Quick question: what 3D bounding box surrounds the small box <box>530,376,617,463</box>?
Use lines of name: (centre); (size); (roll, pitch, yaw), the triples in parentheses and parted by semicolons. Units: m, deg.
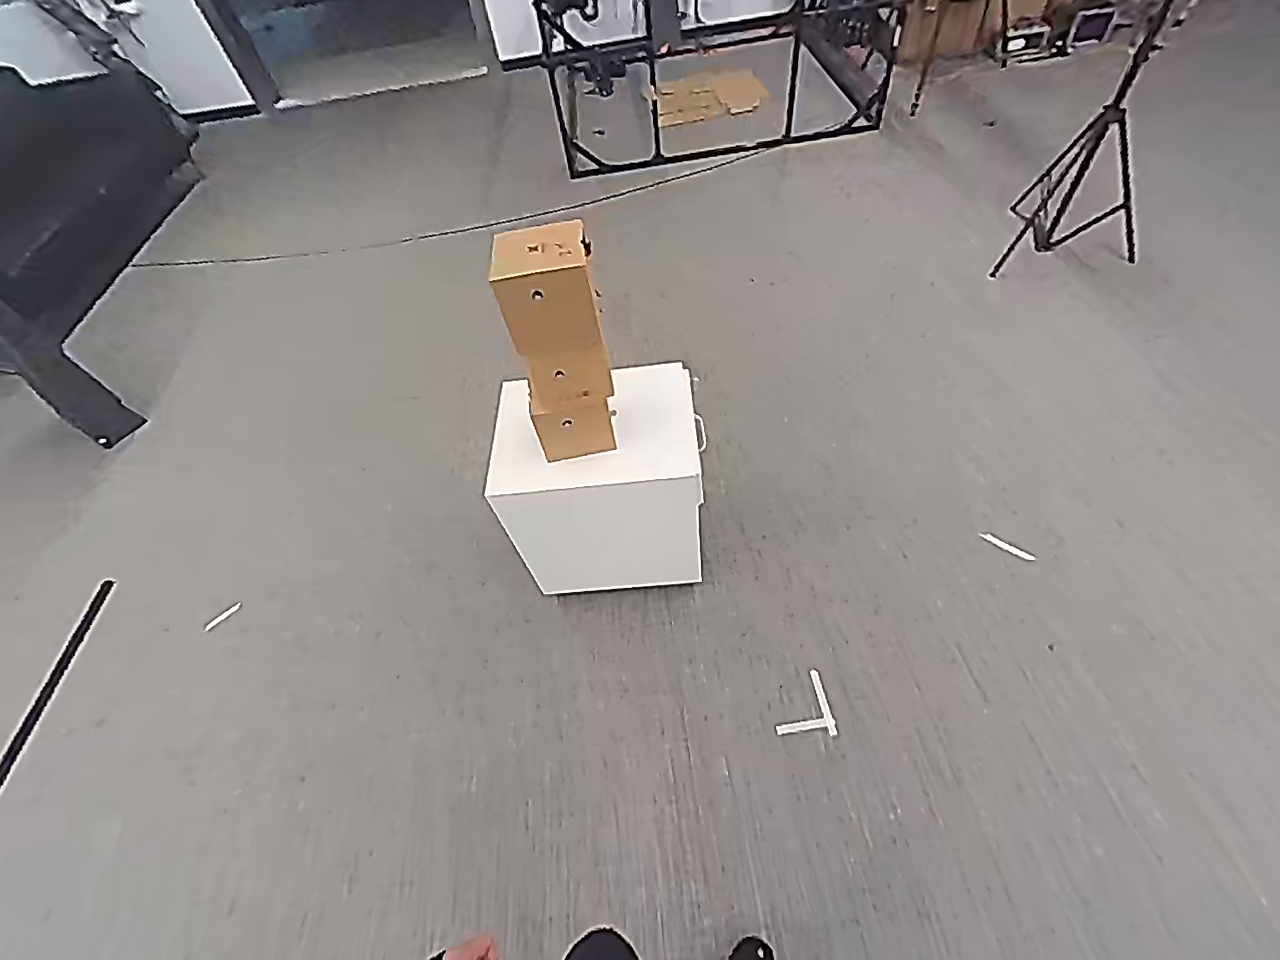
small box: (-0.160, -0.159, 1.319); (0.179, 0.176, 0.168); (-11, 52, -1)

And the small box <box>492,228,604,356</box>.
small box: (-0.173, -0.363, 1.062); (0.179, 0.176, 0.168); (-8, 52, 1)

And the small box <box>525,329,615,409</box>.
small box: (-0.154, -0.274, 1.200); (0.168, 0.176, 0.179); (-10, 51, 0)
